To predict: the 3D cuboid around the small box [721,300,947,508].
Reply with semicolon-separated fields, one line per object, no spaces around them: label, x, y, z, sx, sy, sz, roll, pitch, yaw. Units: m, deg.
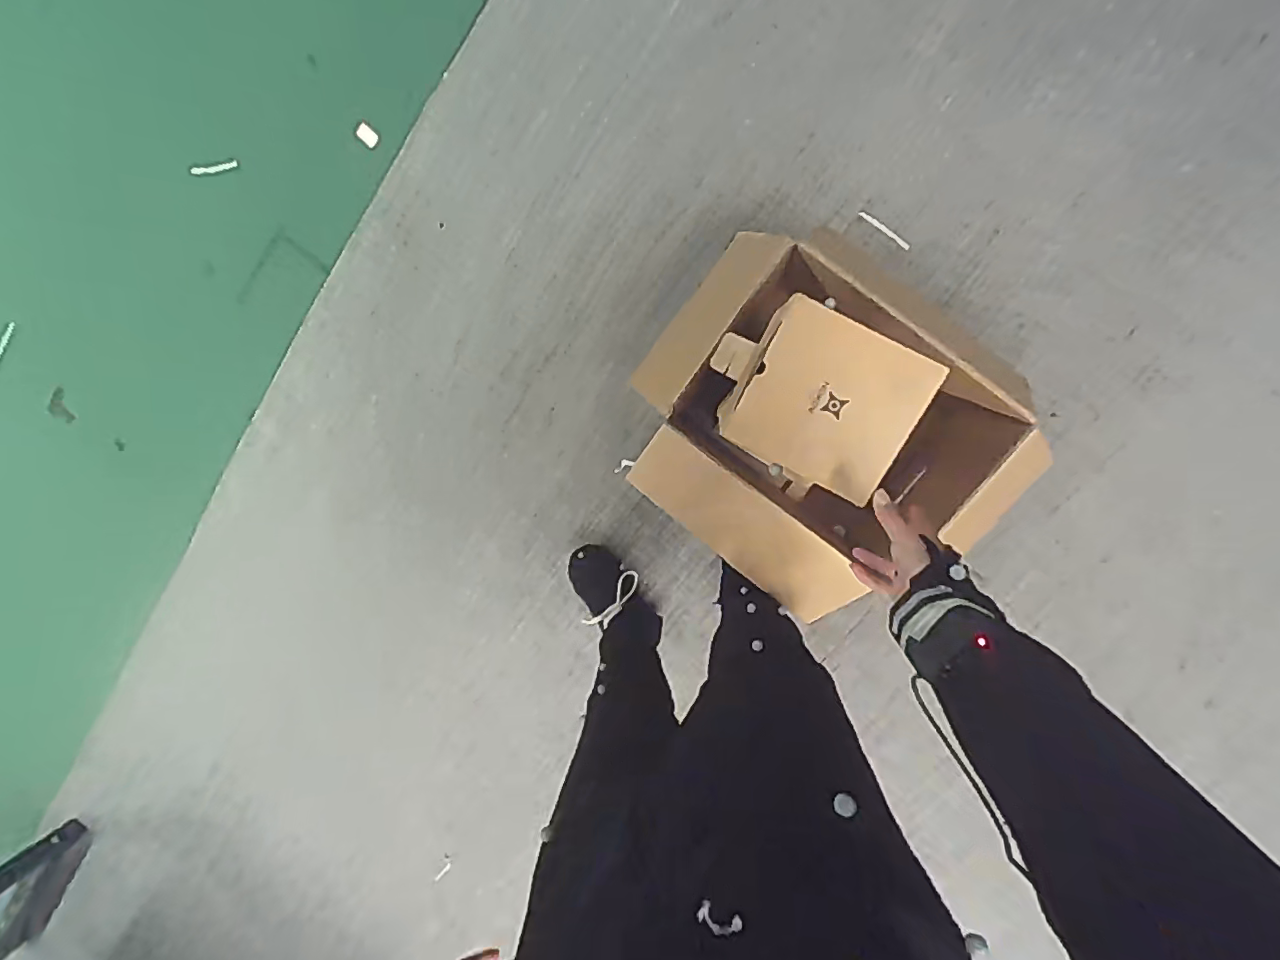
small box;0.212;-0.093;0.645;0.179;0.176;0.168;28;104;3
